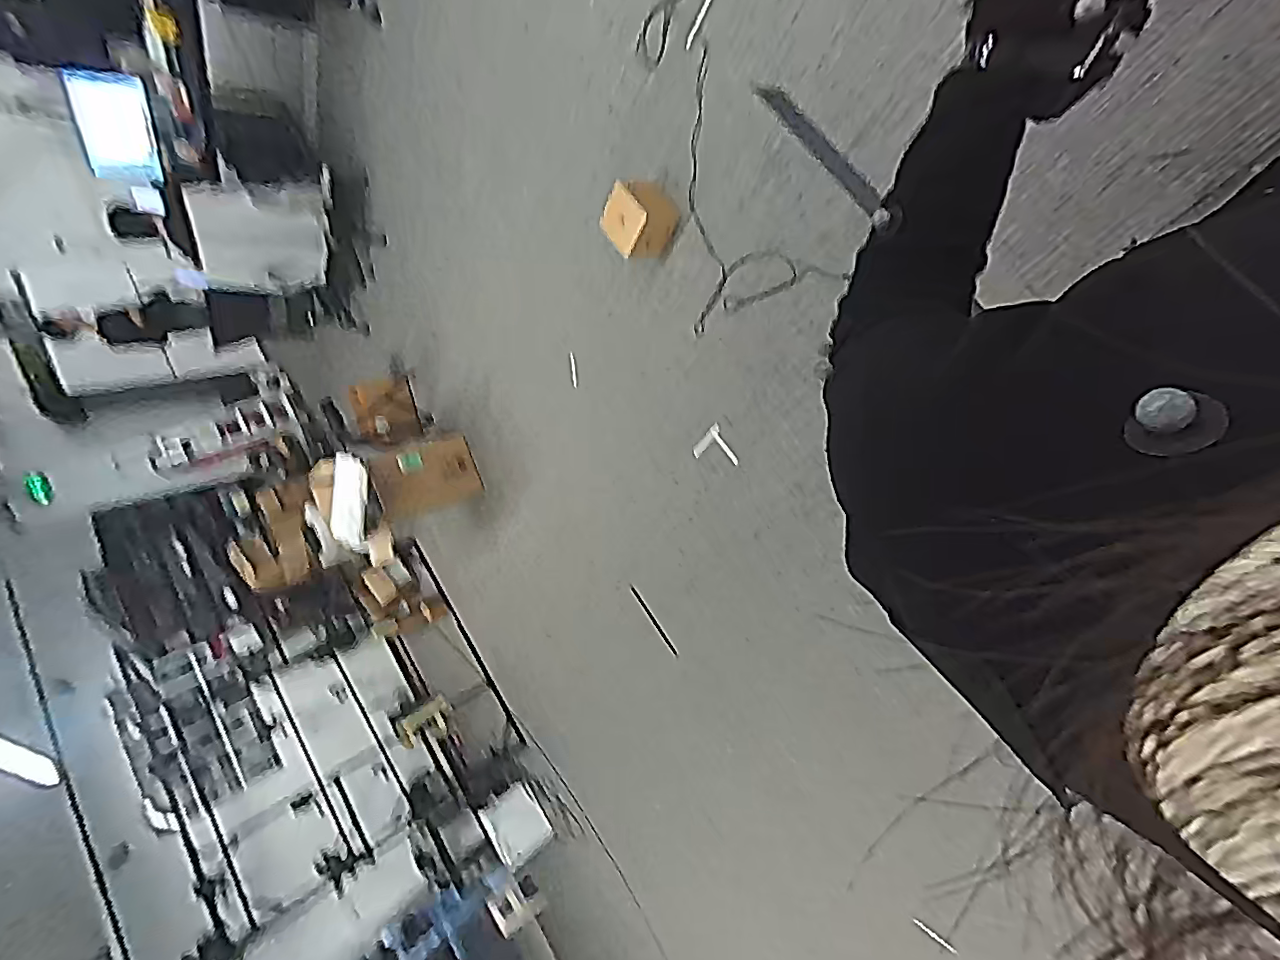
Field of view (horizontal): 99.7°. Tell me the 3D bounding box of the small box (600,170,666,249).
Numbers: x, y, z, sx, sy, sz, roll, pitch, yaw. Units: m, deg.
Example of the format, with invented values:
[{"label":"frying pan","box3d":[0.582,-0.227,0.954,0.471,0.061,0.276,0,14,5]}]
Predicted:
[{"label":"small box","box3d":[-0.031,-0.897,1.800,0.179,0.176,0.168,106,149,-60]}]
